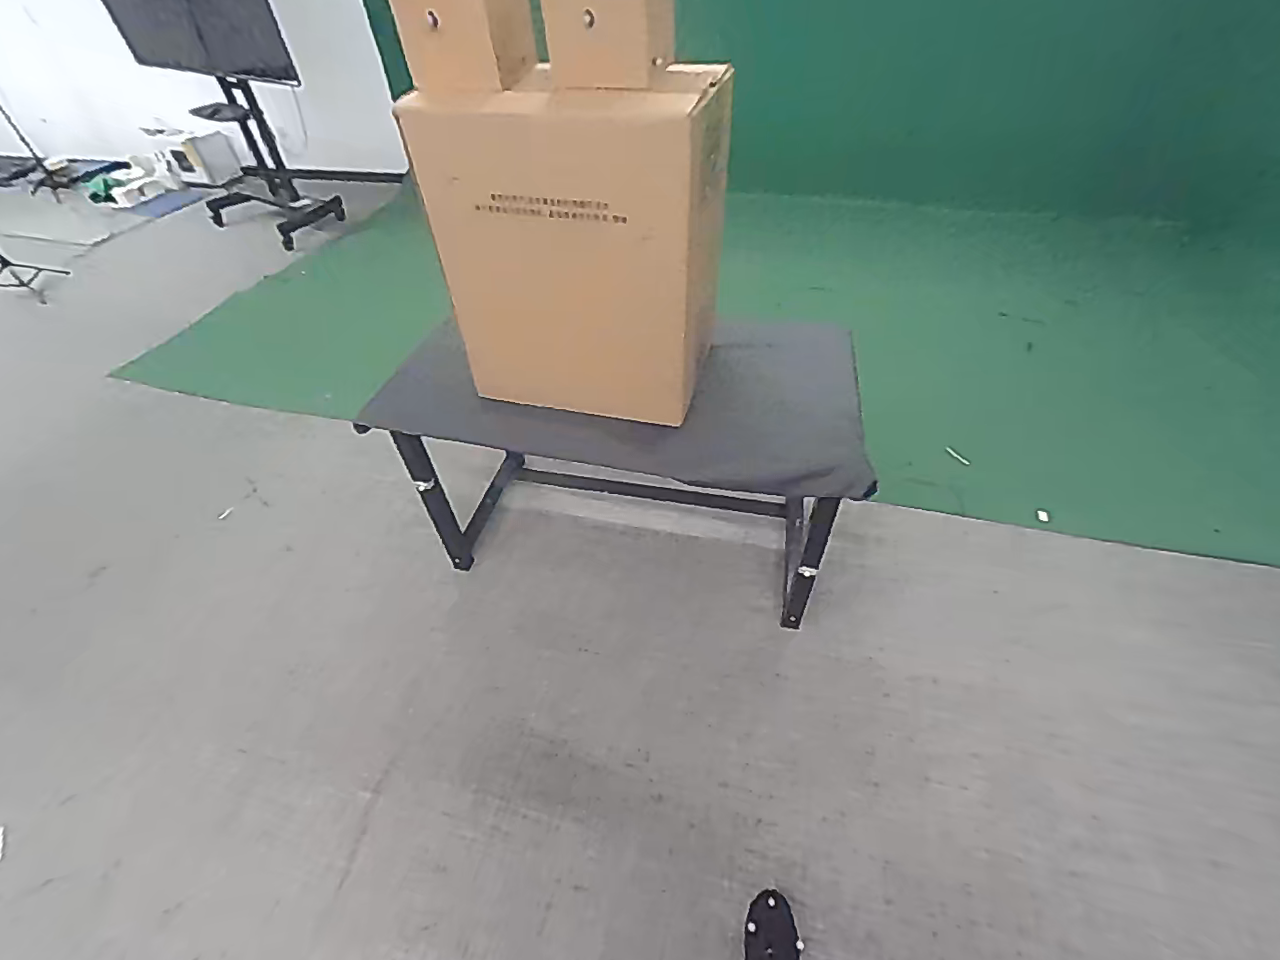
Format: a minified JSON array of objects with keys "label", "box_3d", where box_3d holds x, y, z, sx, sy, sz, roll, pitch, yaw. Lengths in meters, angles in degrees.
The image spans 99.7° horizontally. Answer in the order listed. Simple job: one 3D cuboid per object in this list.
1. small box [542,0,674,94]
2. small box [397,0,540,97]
[{"label":"small box","box_3d":[-0.045,-0.767,0.903,0.179,0.176,0.168,11,52,14]},{"label":"small box","box_3d":[-0.297,-0.793,0.948,0.179,0.176,0.168,10,52,13]}]
